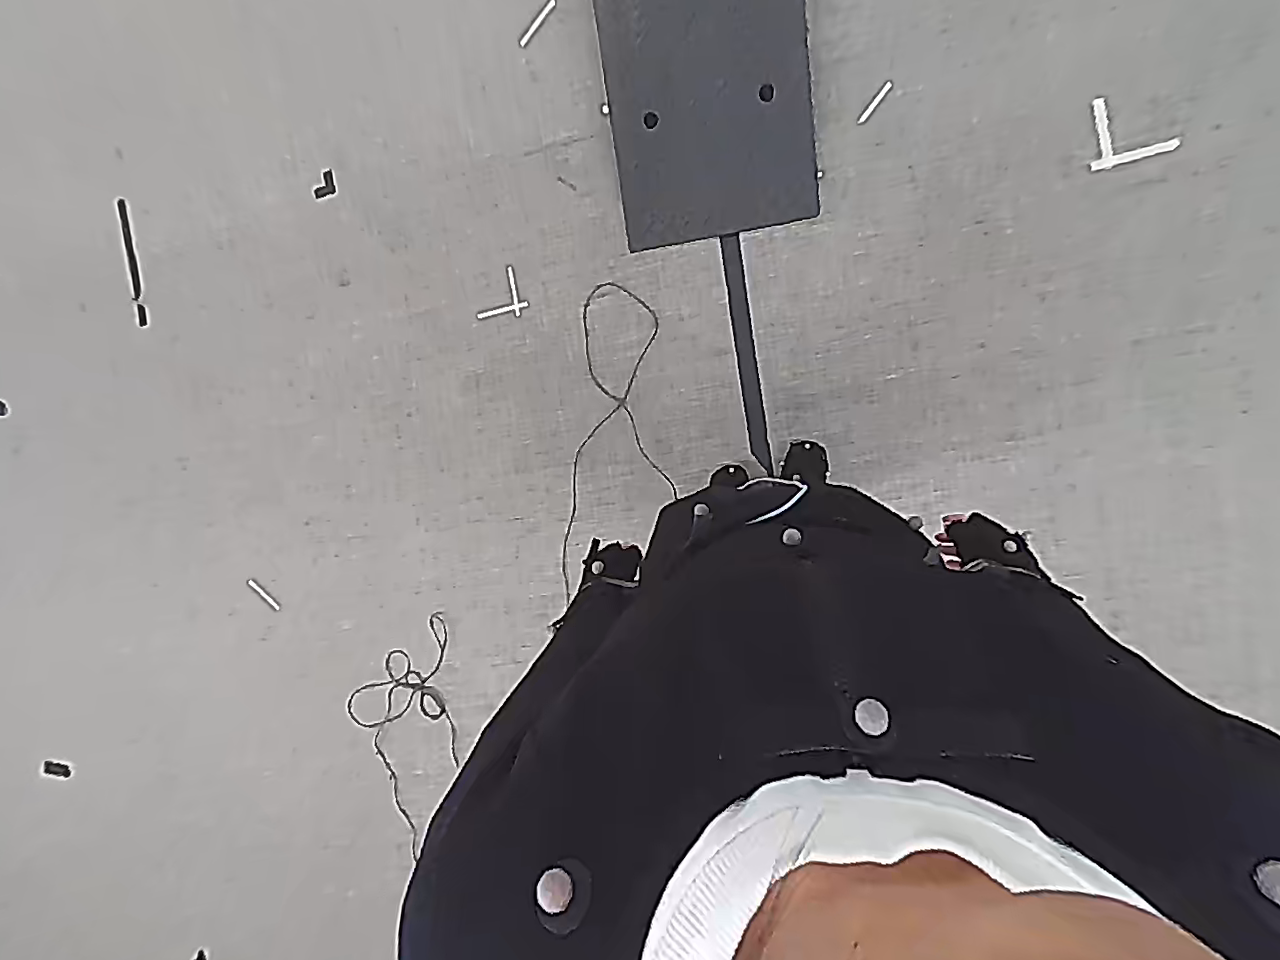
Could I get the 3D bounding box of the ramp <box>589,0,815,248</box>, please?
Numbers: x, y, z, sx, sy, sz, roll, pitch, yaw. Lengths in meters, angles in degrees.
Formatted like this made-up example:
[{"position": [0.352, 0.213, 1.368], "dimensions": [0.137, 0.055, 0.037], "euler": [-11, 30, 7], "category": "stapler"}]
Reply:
[{"position": [0.127, -1.122, 1.281], "dimensions": [0.509, 0.206, 0.991], "euler": [-8, 94, 10], "category": "ramp"}]
